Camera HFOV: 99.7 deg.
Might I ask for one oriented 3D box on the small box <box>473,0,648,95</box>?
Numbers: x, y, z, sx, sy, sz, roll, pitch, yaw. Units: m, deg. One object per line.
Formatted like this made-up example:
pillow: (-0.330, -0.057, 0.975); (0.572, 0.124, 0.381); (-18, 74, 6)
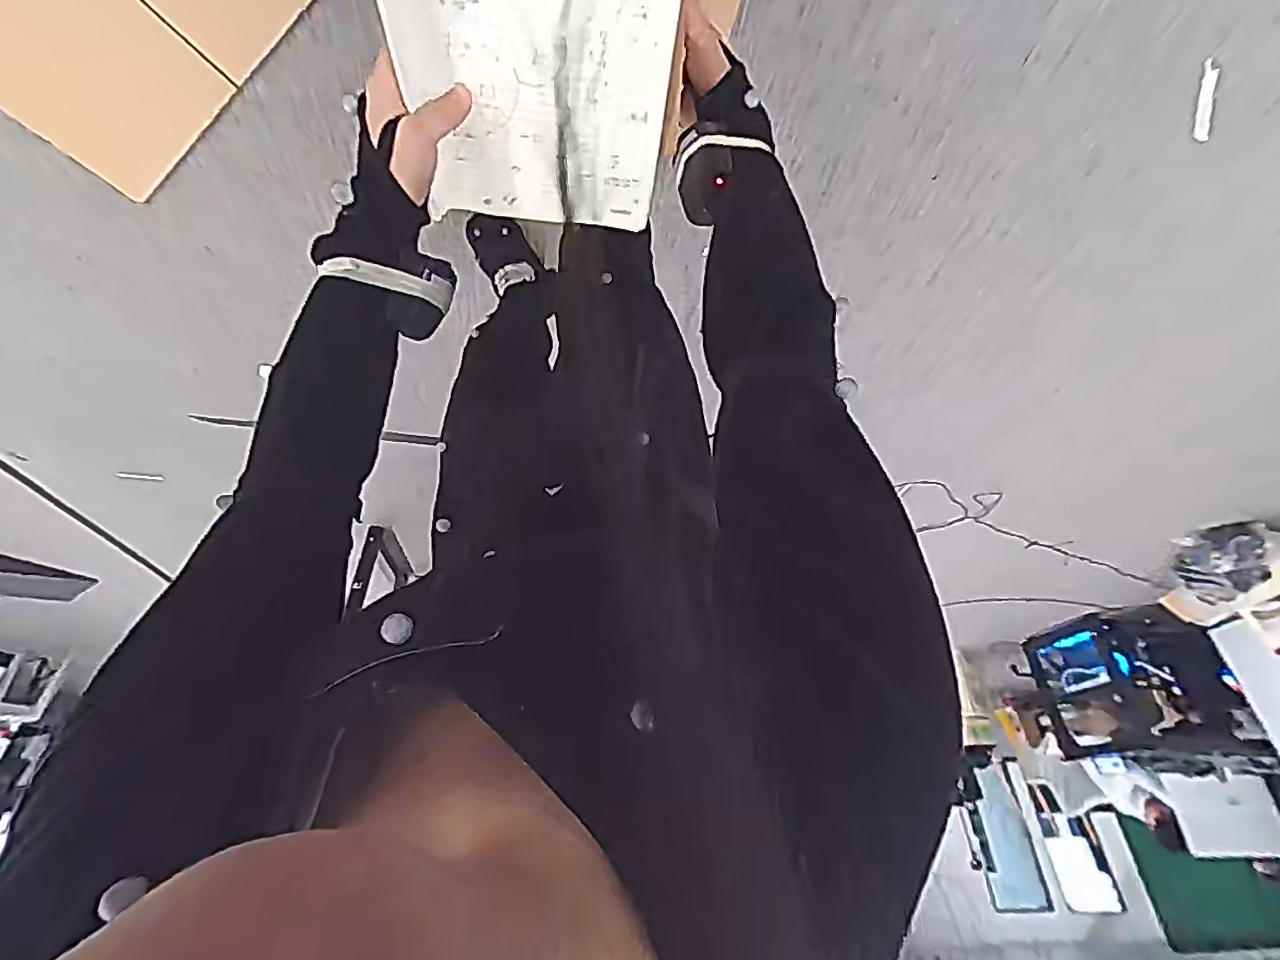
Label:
small box: (-0.071, -0.522, 0.530); (0.168, 0.176, 0.179); (3, 146, -6)
